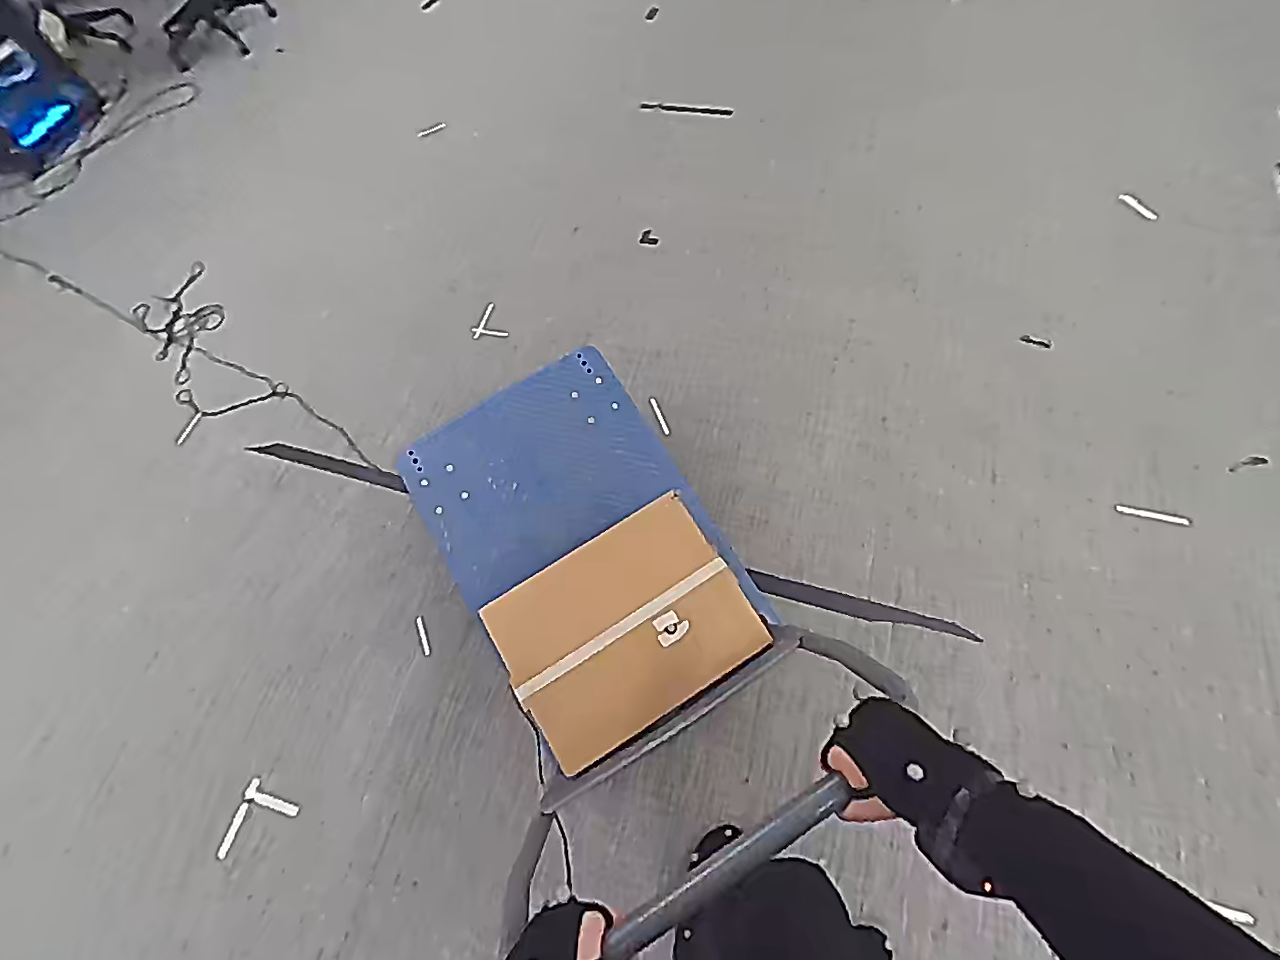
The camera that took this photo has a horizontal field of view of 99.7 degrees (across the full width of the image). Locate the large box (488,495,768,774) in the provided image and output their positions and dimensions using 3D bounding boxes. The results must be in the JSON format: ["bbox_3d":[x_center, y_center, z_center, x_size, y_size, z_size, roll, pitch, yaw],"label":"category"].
[{"bbox_3d":[-0.021,0.293,1.079,0.408,0.320,0.320,-32,77,-7],"label":"large box"}]
